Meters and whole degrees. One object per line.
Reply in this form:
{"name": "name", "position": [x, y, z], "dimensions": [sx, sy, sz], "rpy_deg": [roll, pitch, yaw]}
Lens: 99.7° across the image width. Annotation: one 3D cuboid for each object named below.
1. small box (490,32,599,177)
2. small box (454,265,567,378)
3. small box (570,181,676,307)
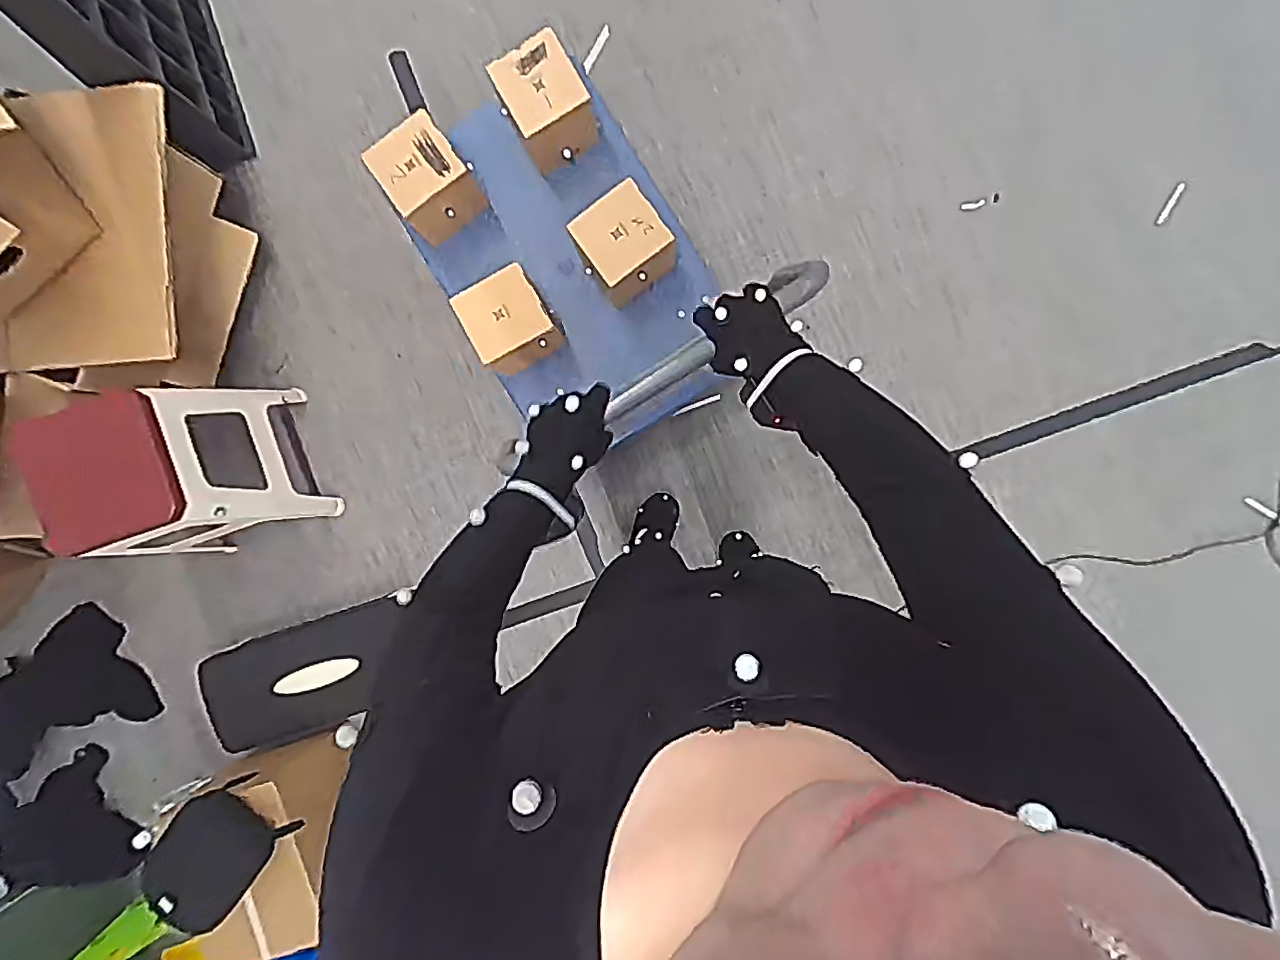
{"name": "small box", "position": [-0.209, -0.841, 1.229], "dimensions": [0.168, 0.176, 0.179], "rpy_deg": [-30, 92, 3]}
{"name": "small box", "position": [-0.289, -0.355, 1.250], "dimensions": [0.179, 0.176, 0.168], "rpy_deg": [-29, 90, 2]}
{"name": "small box", "position": [-0.032, -0.524, 1.233], "dimensions": [0.179, 0.176, 0.168], "rpy_deg": [-36, 90, 3]}
